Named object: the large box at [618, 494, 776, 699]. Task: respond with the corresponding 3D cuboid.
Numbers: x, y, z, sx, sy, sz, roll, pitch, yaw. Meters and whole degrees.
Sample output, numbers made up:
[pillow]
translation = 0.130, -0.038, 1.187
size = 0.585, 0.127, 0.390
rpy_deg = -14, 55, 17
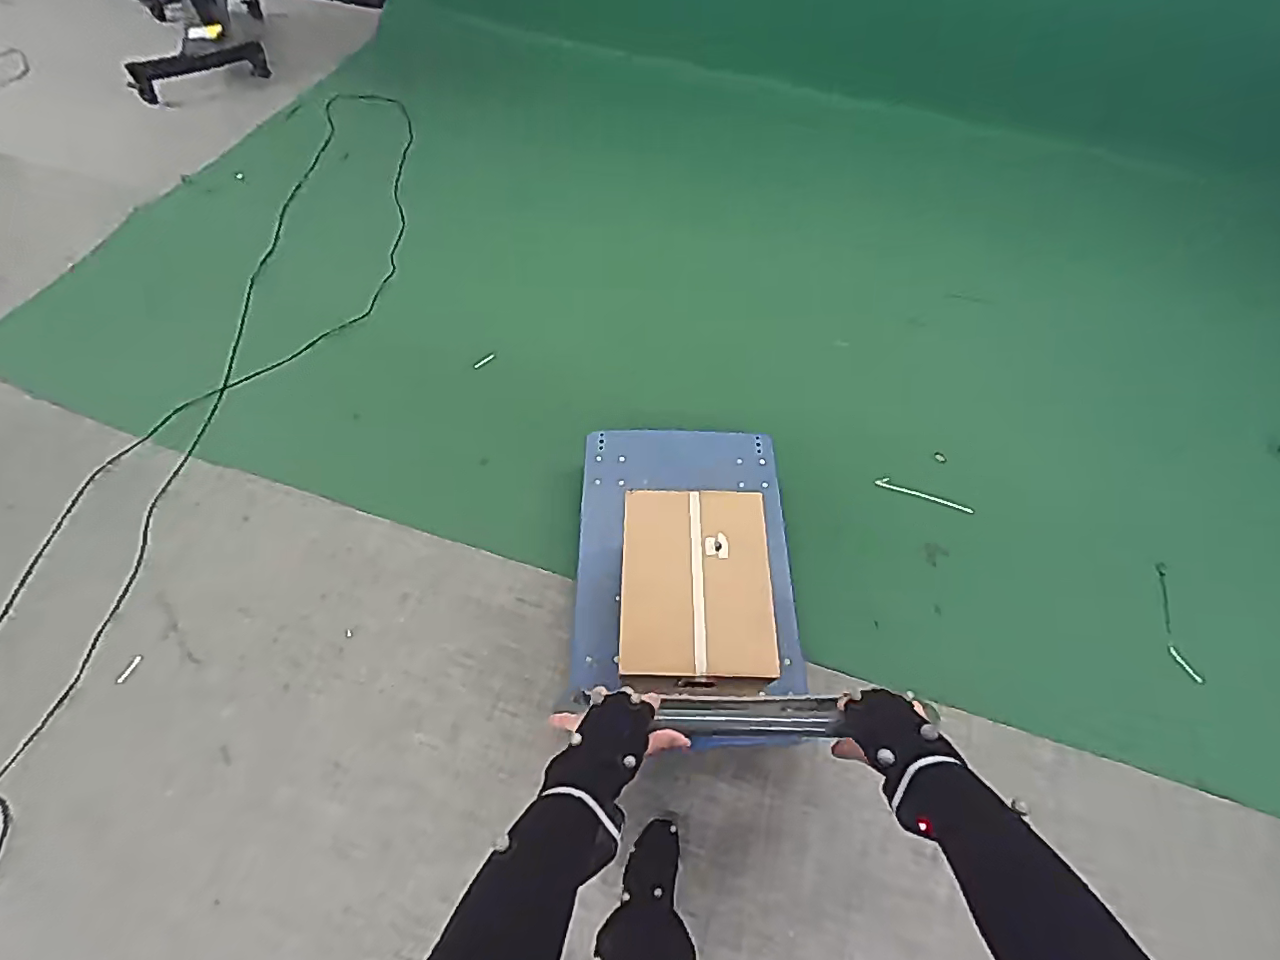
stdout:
[large box]
translation = 0.112, 0.282, 1.279
size = 0.320, 0.320, 0.408
rpy_deg = 1, 59, -1
